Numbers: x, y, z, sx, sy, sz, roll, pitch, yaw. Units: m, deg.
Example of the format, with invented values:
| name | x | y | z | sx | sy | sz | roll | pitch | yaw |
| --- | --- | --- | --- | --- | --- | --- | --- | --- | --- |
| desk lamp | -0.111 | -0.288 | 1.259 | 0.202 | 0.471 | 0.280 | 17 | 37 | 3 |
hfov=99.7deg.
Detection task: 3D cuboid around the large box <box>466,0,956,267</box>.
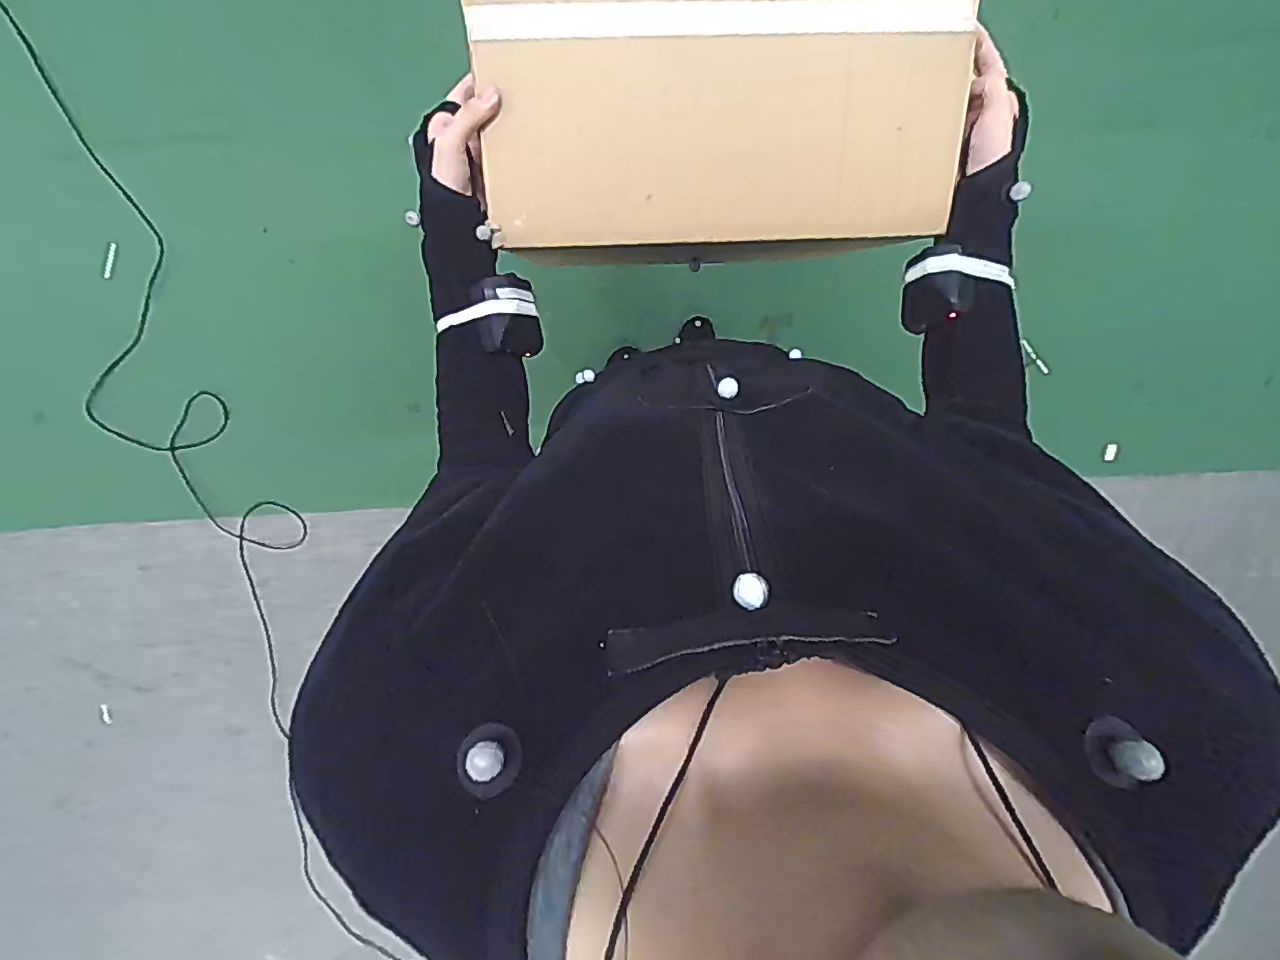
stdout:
| name | x | y | z | sx | sy | sz | roll | pitch | yaw |
| --- | --- | --- | --- | --- | --- | --- | --- | --- | --- |
| large box | 0.055 | -0.408 | 0.584 | 0.408 | 0.320 | 0.320 | -3 | 108 | -2 |
